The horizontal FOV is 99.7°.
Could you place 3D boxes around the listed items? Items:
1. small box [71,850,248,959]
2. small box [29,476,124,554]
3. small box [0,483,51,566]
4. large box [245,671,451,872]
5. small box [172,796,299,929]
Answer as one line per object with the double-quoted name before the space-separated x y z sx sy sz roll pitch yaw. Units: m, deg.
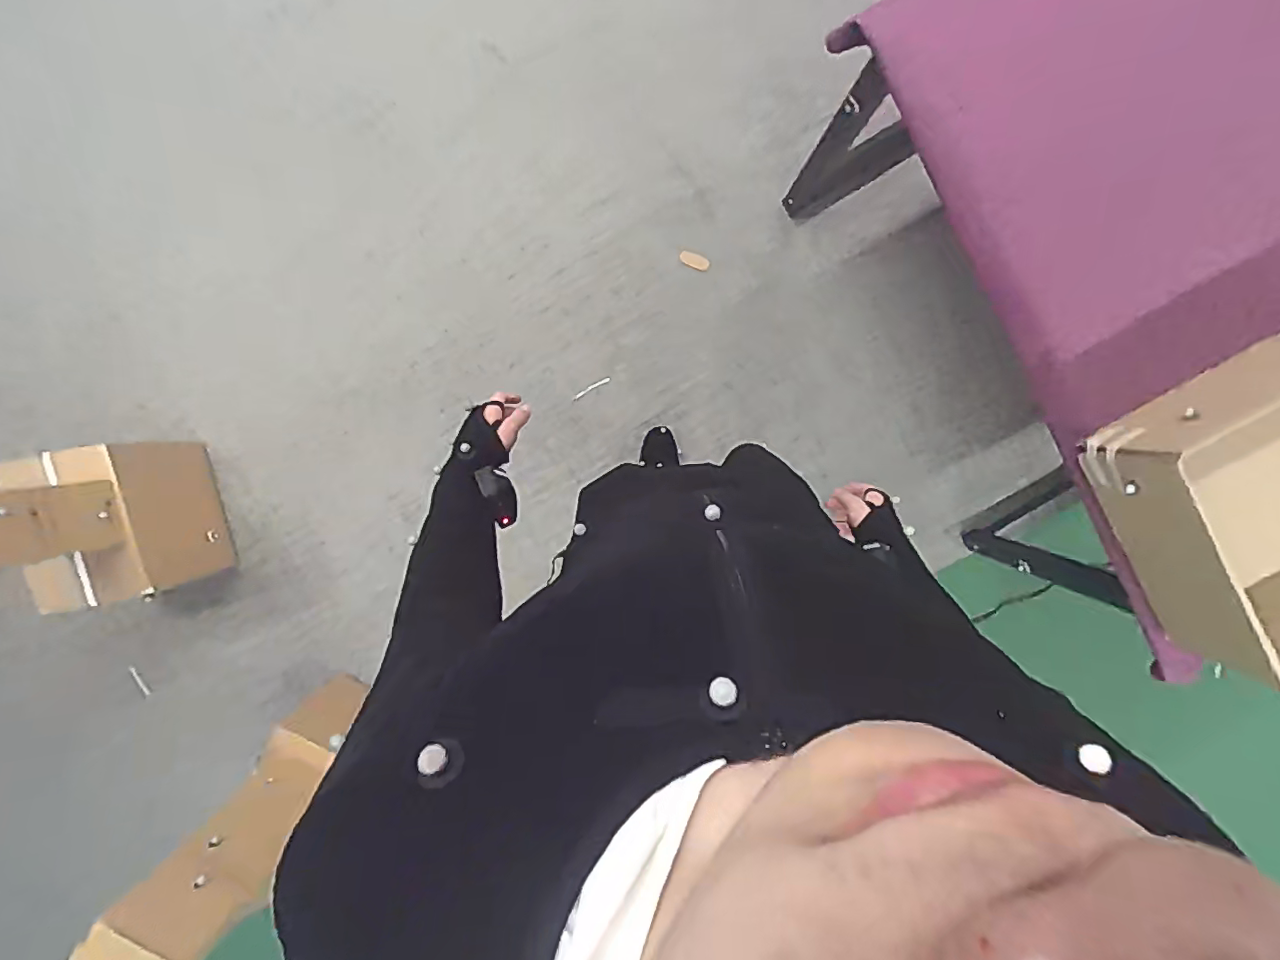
"small box" -0.918 0.863 1.037 0.179 0.176 0.168 33 96 -2
"small box" -1.407 0.086 1.288 0.179 0.176 0.168 -8 96 0
"small box" -1.401 0.106 1.127 0.179 0.176 0.168 -10 96 2
"large box" -0.854 0.846 1.613 0.408 0.320 0.320 28 98 -3
"small box" -0.916 0.848 1.200 0.179 0.176 0.168 33 96 -3
